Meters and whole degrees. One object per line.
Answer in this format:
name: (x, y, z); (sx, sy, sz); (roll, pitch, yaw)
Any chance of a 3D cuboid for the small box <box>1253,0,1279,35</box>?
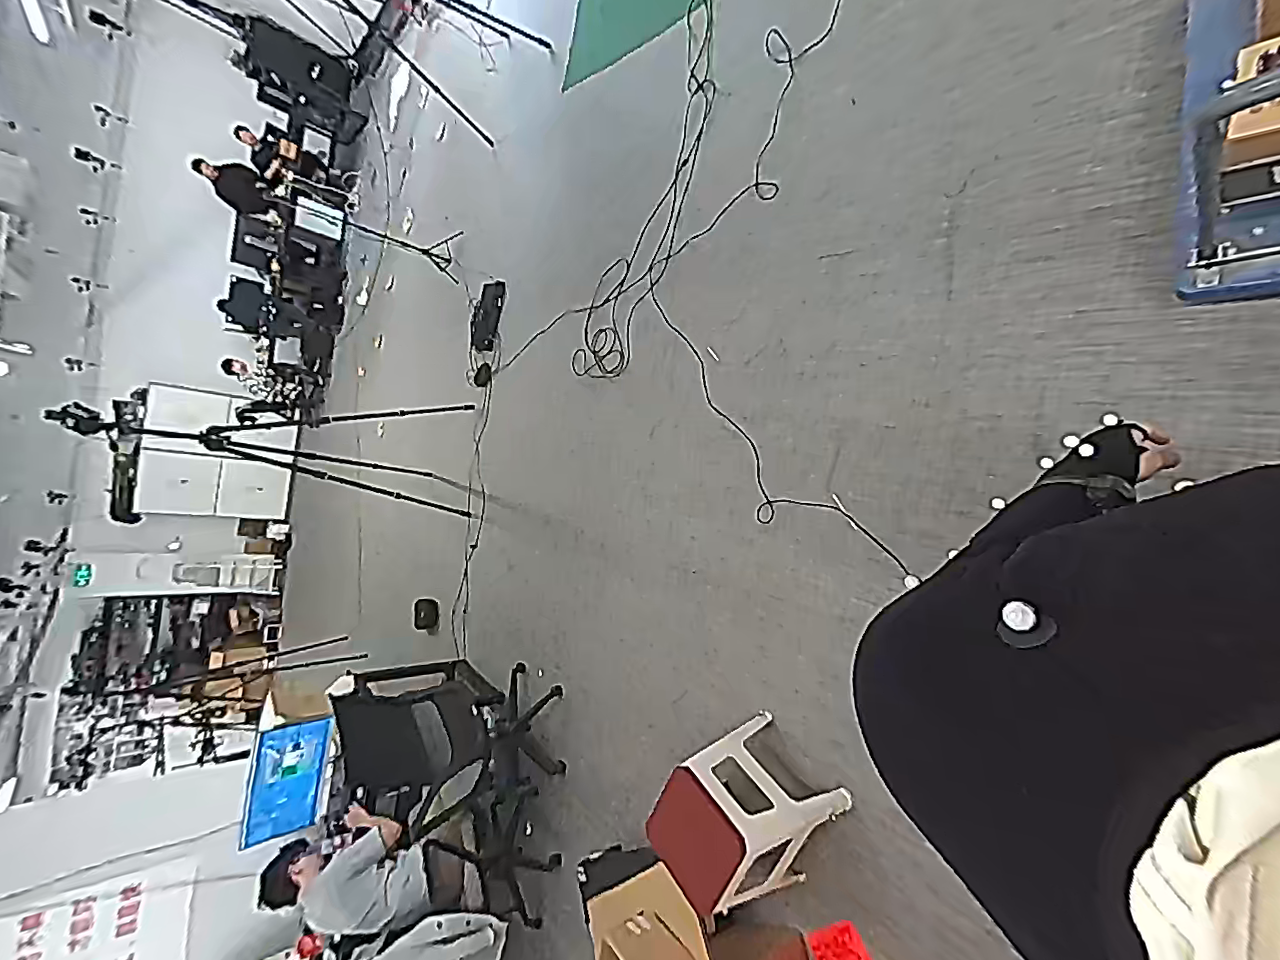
small box: (1.202, -0.937, 0.945); (0.168, 0.176, 0.179); (-1, 84, 47)
